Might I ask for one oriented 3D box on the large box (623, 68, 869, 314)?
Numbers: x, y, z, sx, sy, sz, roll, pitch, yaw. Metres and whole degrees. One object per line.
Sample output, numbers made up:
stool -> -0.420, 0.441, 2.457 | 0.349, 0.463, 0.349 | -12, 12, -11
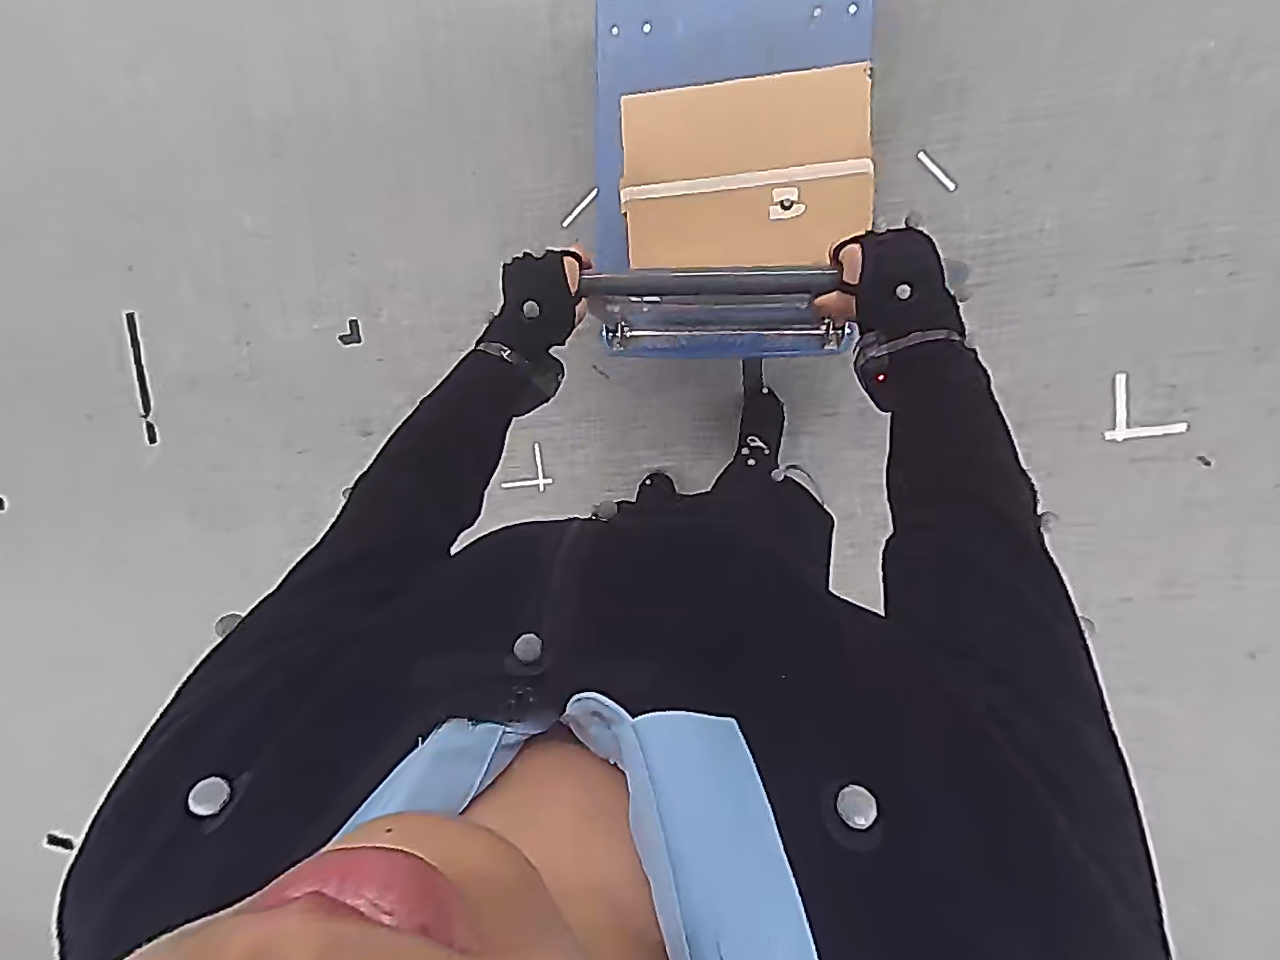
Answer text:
large box -> 0.194, -0.524, 1.063 | 0.408, 0.320, 0.320 | -3, 99, 7
